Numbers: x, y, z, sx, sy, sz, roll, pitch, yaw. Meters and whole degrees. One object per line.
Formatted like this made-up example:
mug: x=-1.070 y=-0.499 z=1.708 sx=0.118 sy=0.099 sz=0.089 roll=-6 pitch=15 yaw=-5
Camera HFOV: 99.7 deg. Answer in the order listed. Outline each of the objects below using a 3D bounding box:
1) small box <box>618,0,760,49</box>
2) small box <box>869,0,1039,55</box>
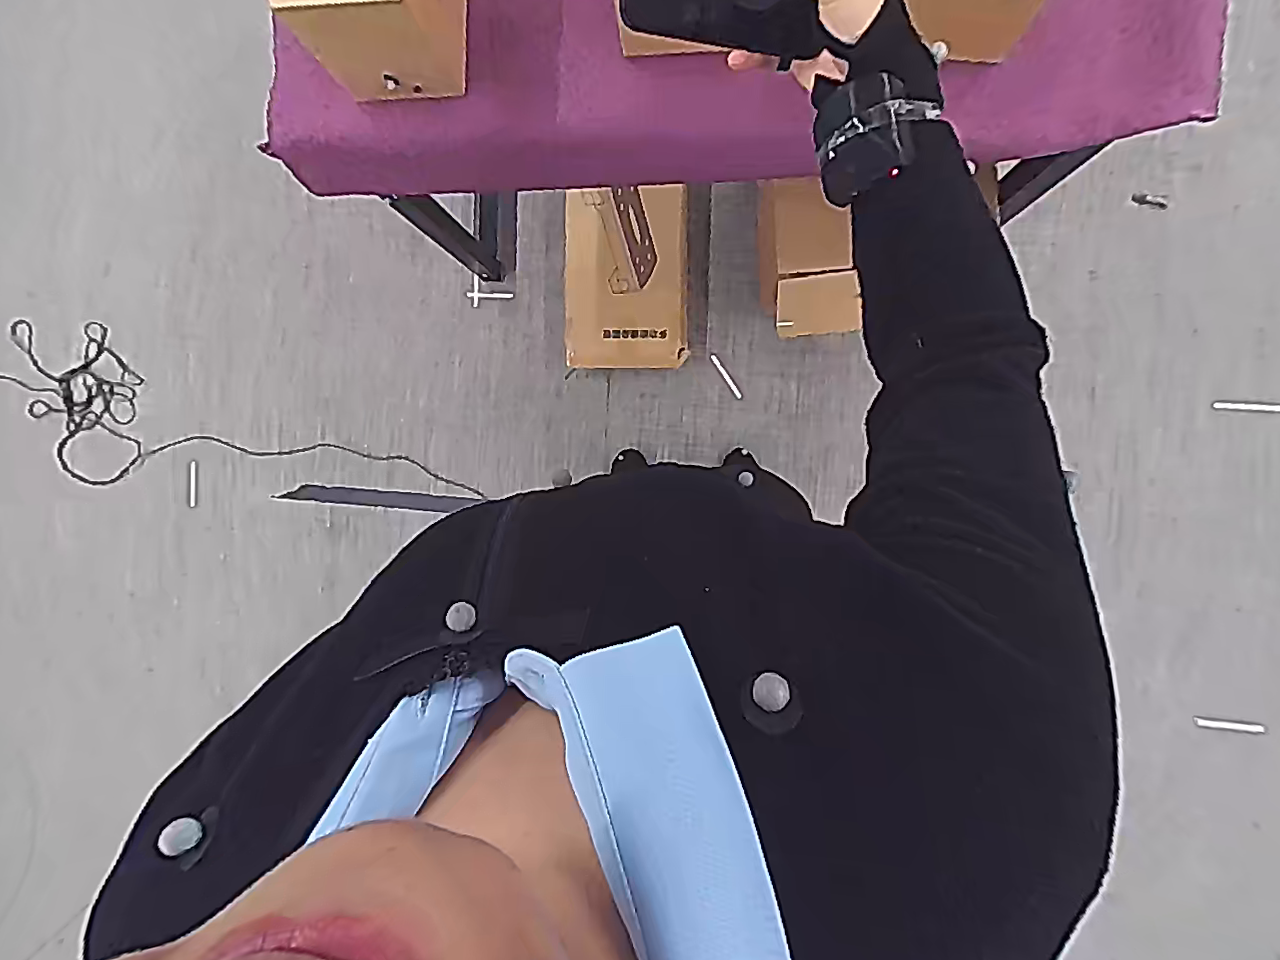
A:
small box: x=0.061 y=-0.653 z=0.635 sx=0.179 sy=0.176 sz=0.168 roll=1 pitch=91 yaw=6
small box: x=0.376 y=-0.621 z=0.605 sx=0.179 sy=0.176 sz=0.168 roll=9 pitch=94 yaw=5
